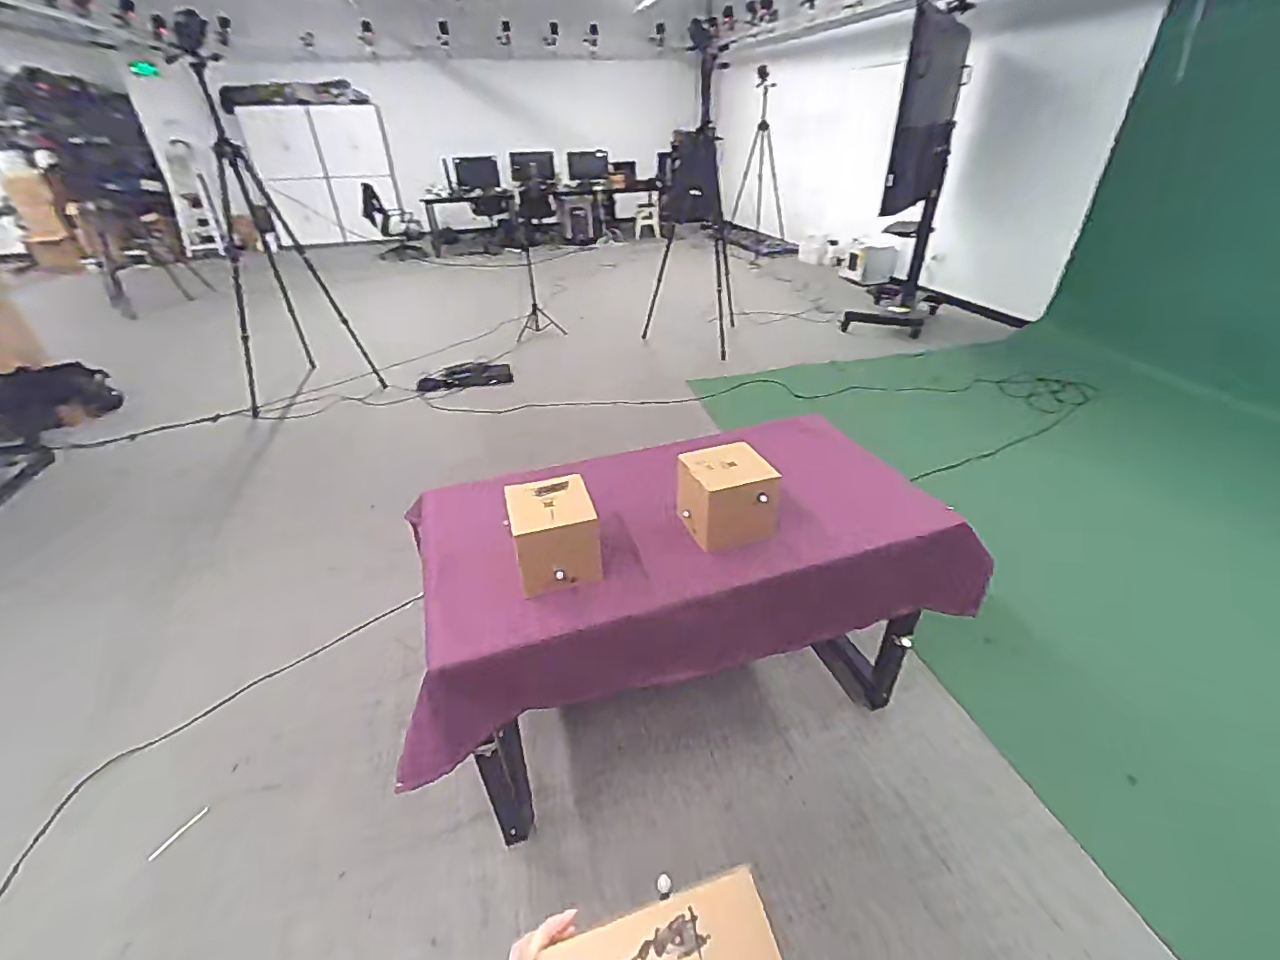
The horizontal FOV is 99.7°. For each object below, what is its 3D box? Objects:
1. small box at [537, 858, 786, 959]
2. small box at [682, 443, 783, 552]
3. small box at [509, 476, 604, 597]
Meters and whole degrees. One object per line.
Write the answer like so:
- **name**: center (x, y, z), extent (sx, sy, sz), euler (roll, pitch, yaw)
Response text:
- **small box**: center (0.041, 0.417, 0.410), extent (0.168, 0.176, 0.179), euler (-20, 55, -3)
- **small box**: center (0.203, 0.039, 1.239), extent (0.179, 0.176, 0.168), euler (-12, 34, -15)
- **small box**: center (-0.177, 0.117, 1.143), extent (0.168, 0.176, 0.179), euler (-11, 35, -13)
